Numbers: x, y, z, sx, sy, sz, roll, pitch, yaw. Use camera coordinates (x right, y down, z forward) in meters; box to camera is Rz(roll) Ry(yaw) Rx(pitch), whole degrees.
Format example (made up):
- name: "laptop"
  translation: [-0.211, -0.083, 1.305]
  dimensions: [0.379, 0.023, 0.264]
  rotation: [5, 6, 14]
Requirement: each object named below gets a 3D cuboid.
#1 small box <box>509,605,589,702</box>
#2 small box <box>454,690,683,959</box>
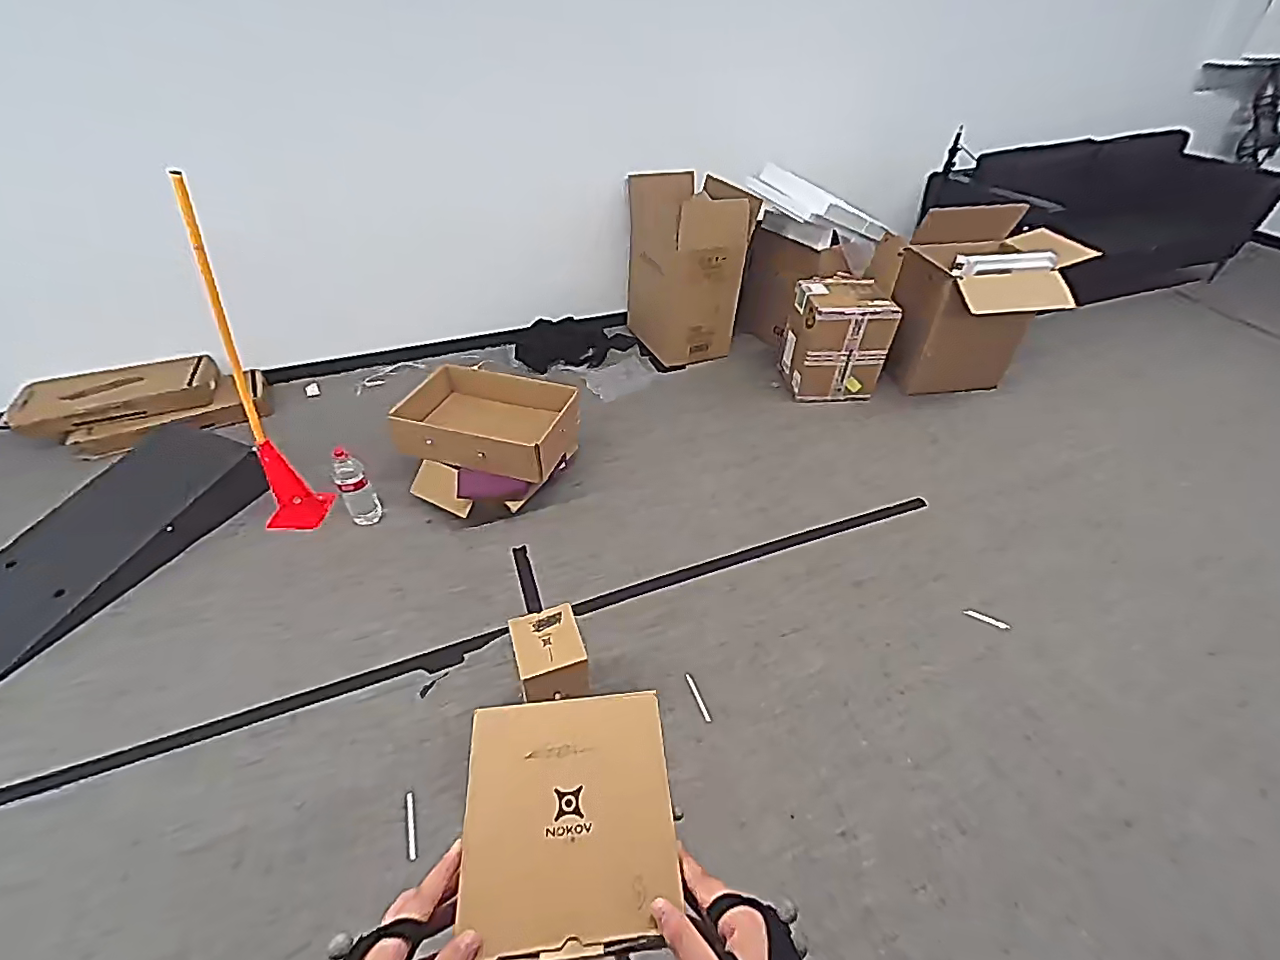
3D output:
- name: "small box"
  translation: [-0.235, 0.460, 1.395]
  dimensions: [0.168, 0.176, 0.179]
  rotation: [-13, 45, -16]
- name: "small box"
  translation: [-0.059, 0.316, 0.493]
  dimensions: [0.168, 0.176, 0.179]
  rotation: [-4, 47, -6]
